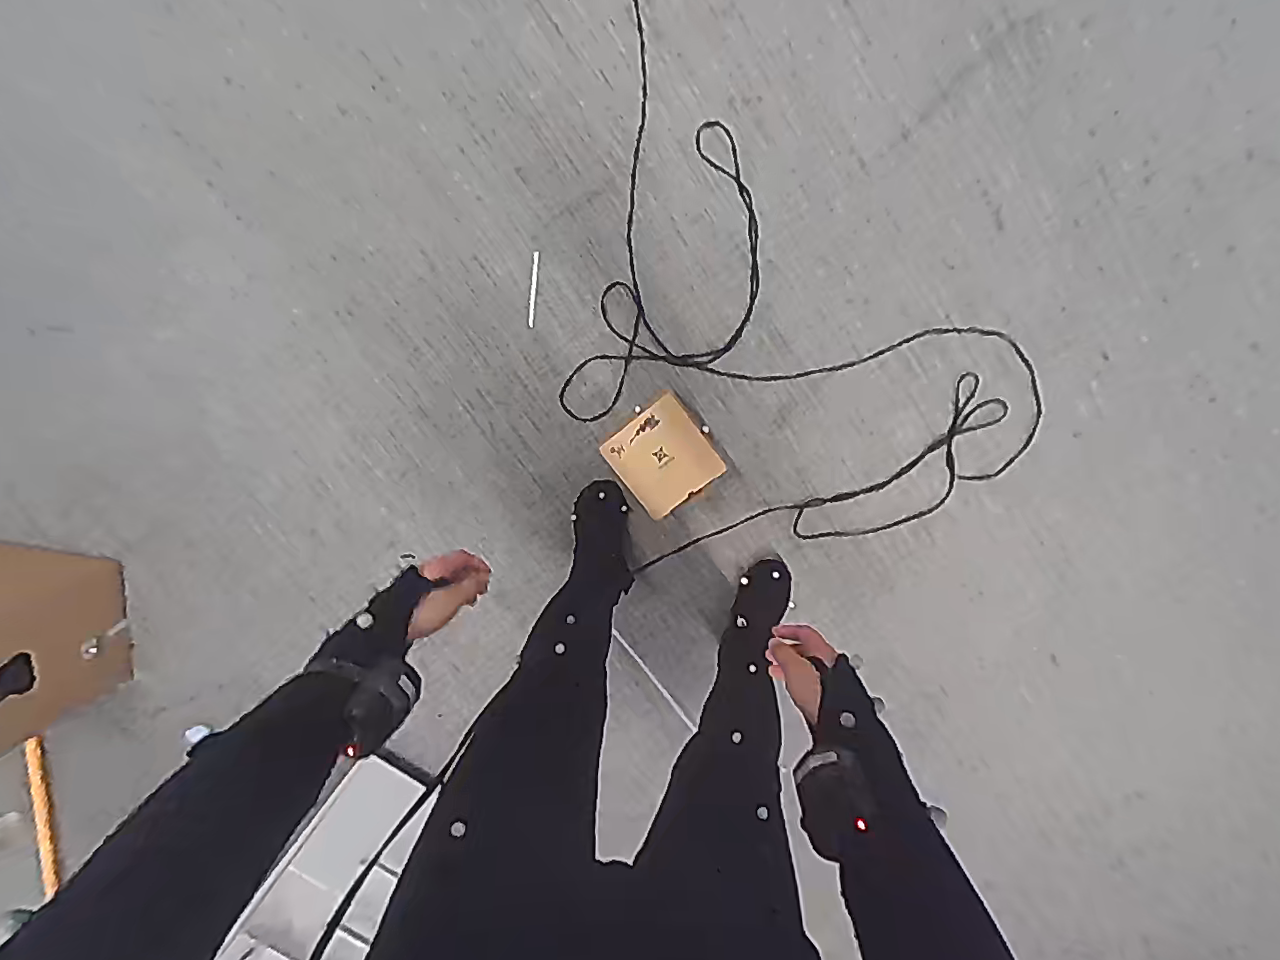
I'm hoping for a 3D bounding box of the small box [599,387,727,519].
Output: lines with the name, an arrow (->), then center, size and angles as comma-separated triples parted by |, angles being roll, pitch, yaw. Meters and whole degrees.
small box -> 0.046, -0.061, 1.040 | 0.168, 0.176, 0.179 | -37, 100, 11
